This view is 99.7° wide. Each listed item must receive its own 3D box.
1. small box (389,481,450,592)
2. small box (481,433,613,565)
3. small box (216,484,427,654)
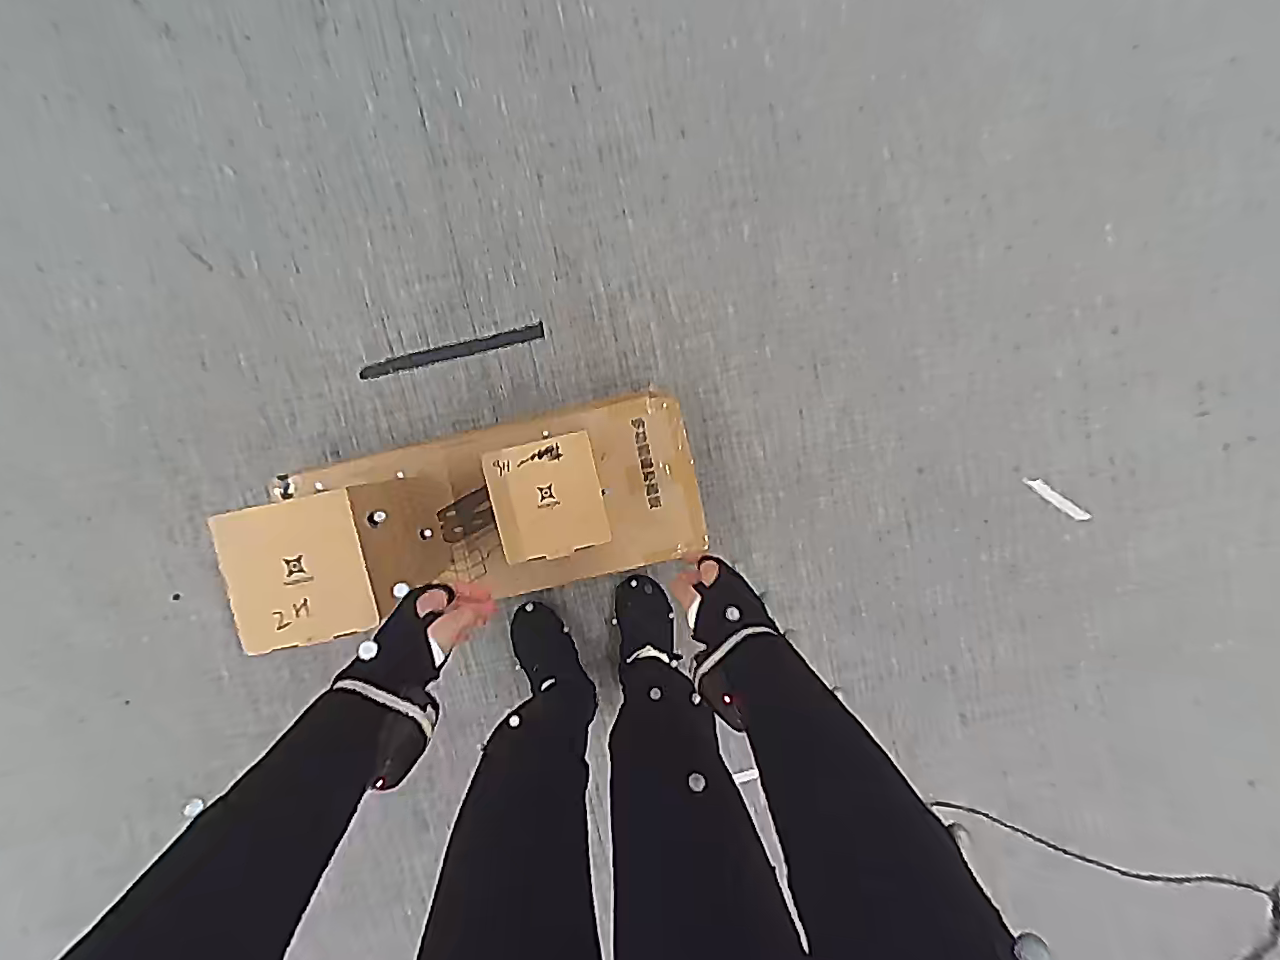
[{"bbox_3d":[-0.435,0.103,0.892,0.168,0.176,0.179,-14,96,-2],"label":"small box"},{"bbox_3d":[-0.143,0.023,0.898,0.168,0.176,0.179,-12,95,1],"label":"small box"},{"bbox_3d":[-0.410,0.105,0.727,0.168,0.176,0.179,-12,95,-1],"label":"small box"}]
